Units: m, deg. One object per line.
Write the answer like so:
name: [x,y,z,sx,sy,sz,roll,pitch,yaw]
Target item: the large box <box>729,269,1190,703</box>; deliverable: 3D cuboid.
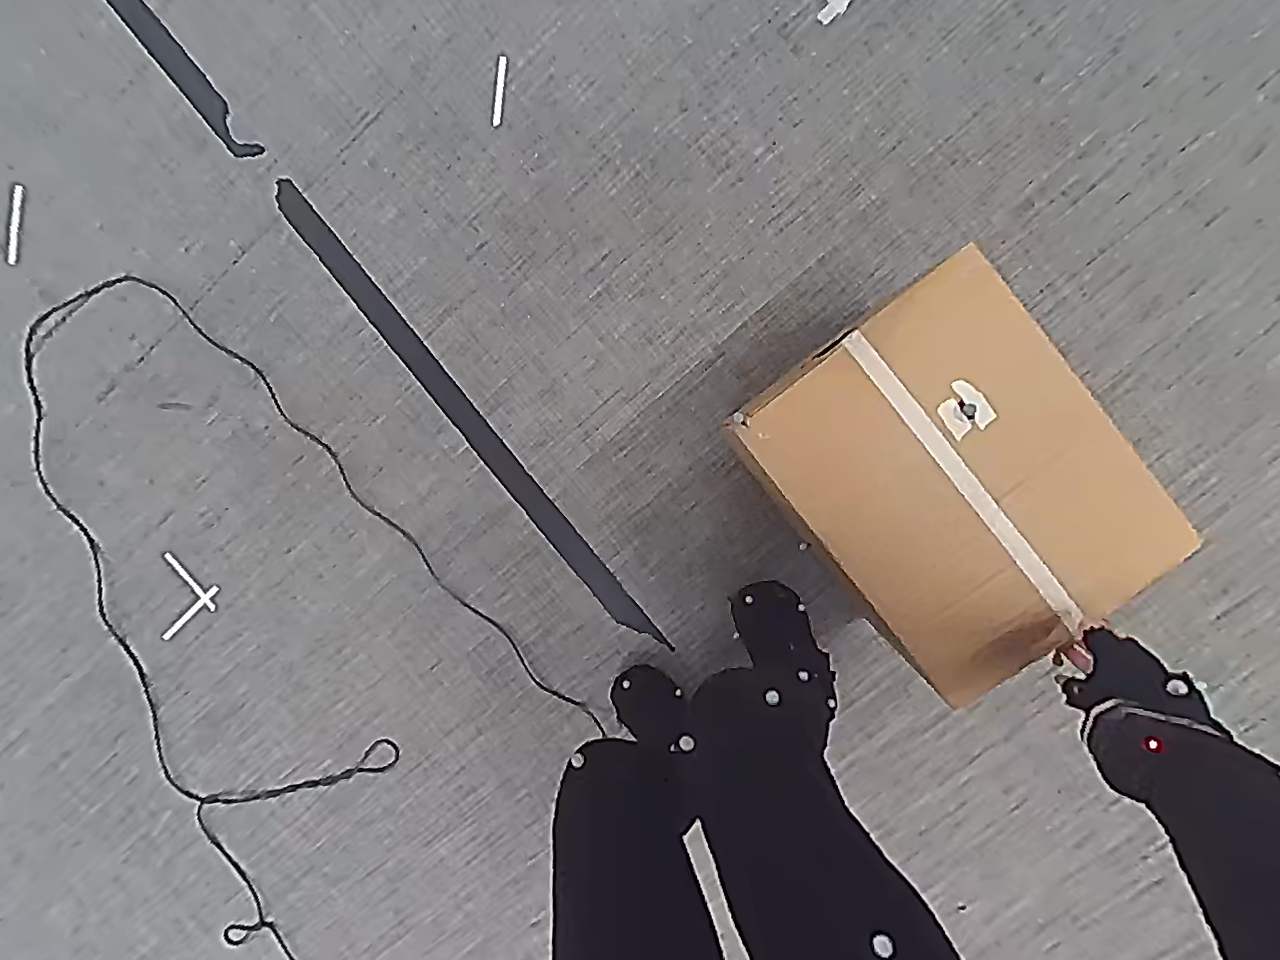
large box: [0.372,0.004,0.750,0.320,0.320,0.408,-38,90,6]
